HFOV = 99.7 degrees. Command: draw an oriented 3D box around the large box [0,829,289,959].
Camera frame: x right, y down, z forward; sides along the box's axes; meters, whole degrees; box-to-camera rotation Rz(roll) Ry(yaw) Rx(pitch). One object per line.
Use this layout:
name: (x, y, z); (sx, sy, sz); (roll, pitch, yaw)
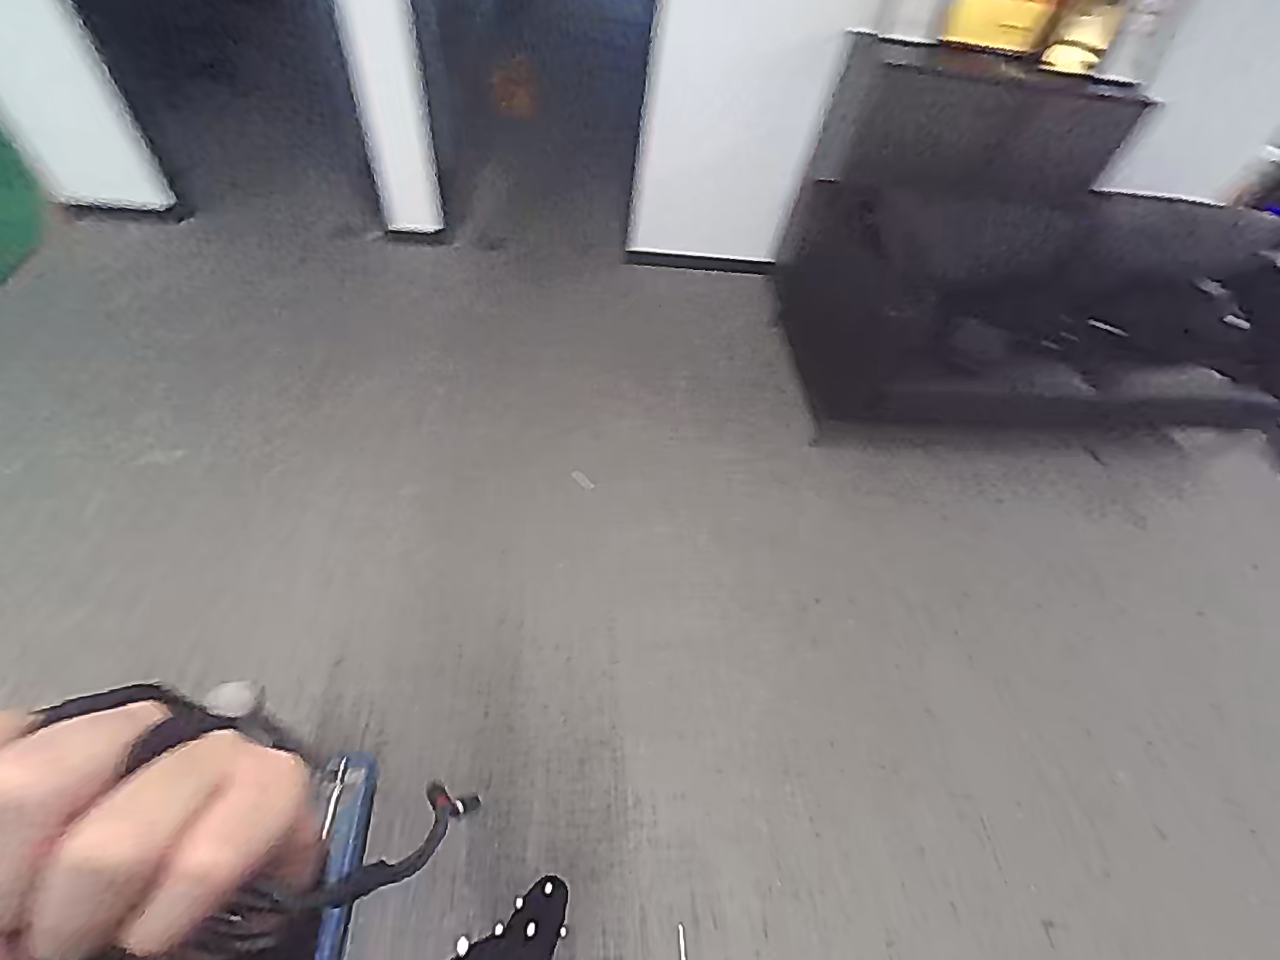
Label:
large box: (-0.888, 0.770, 0.886); (0.408, 0.320, 0.320); (5, 52, -7)
